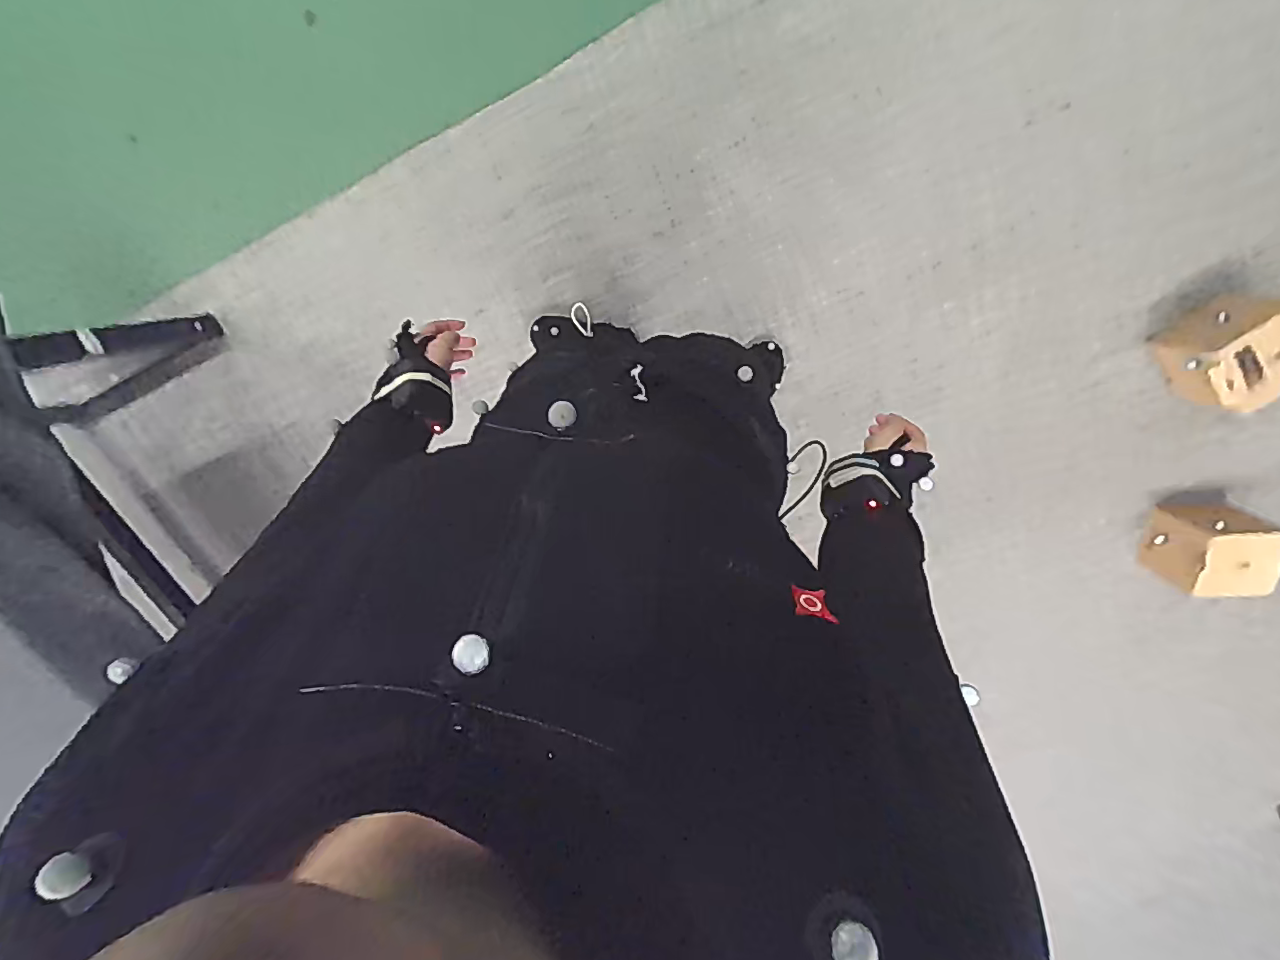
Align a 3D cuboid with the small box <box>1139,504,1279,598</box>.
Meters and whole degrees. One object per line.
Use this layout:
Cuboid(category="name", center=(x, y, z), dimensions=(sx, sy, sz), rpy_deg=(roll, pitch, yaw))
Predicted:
Cuboid(category="small box", center=(1.375, 0.166, 1.300), dimensions=(0.179, 0.176, 0.168), rpy_deg=(-4, 112, 5))
